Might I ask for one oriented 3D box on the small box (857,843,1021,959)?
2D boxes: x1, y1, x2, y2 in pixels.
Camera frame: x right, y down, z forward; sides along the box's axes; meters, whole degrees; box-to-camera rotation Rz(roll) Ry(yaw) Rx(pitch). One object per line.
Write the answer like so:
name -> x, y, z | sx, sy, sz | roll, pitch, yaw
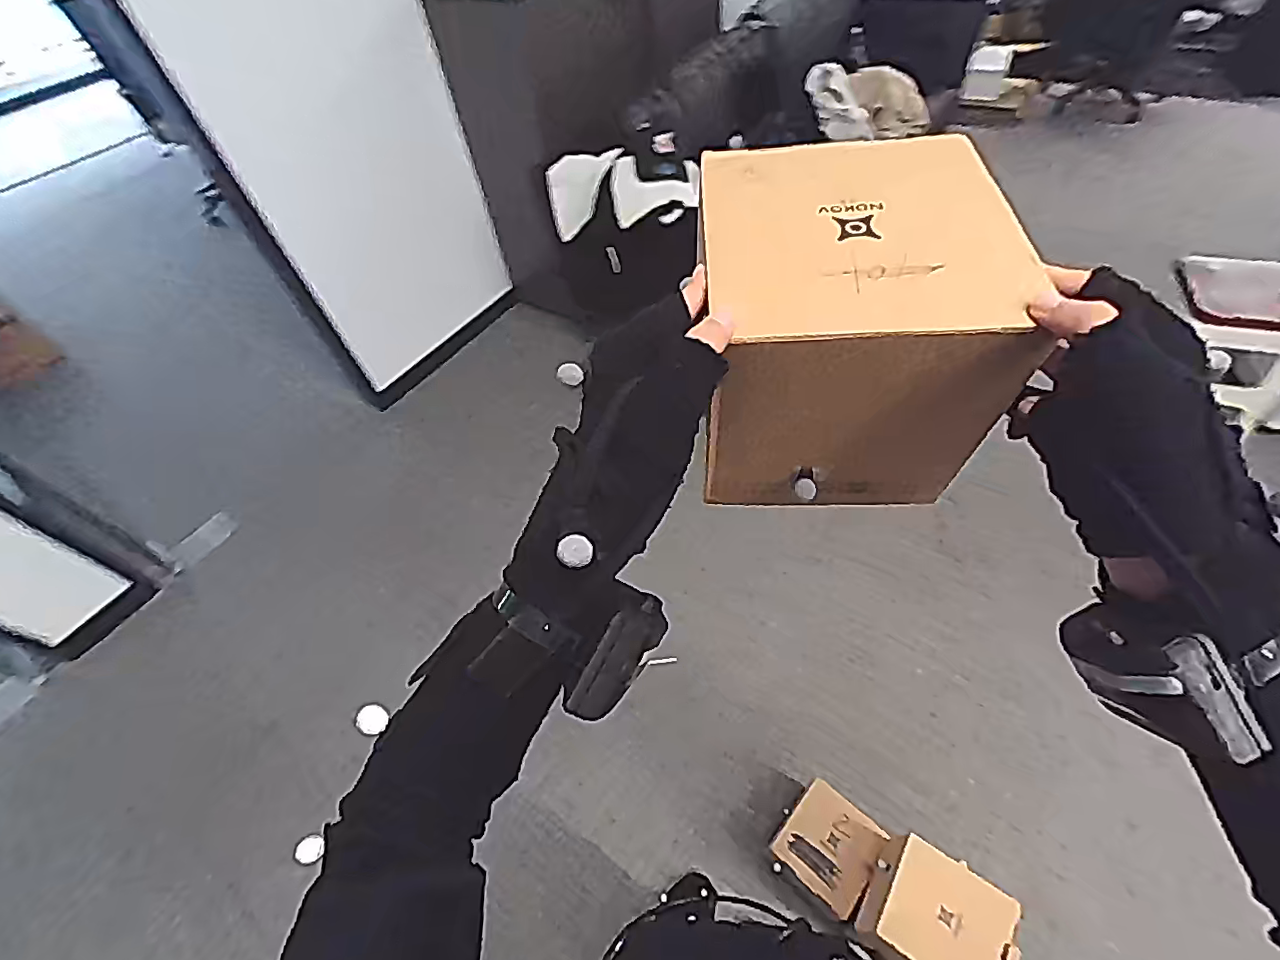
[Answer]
small box -> 0.487, 0.752, 0.904 | 0.179, 0.176, 0.168 | 26, 59, 24
